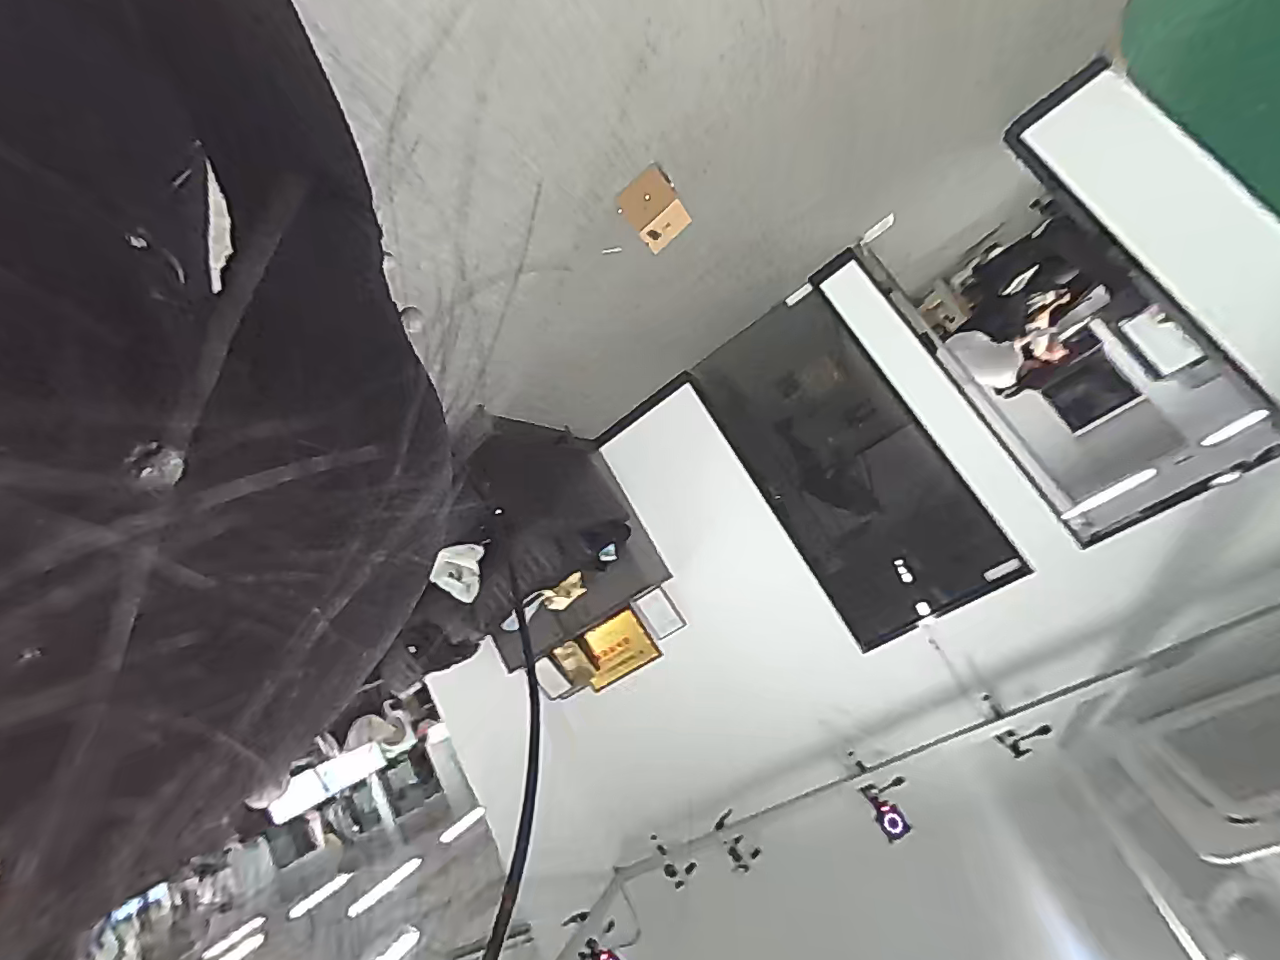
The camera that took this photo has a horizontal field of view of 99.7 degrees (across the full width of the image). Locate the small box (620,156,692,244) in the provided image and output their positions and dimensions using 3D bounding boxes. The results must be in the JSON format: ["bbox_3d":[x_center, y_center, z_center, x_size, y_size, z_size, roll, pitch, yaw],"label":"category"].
[{"bbox_3d":[0.049,-0.980,1.895,0.179,0.176,0.168,-35,166,18],"label":"small box"}]
